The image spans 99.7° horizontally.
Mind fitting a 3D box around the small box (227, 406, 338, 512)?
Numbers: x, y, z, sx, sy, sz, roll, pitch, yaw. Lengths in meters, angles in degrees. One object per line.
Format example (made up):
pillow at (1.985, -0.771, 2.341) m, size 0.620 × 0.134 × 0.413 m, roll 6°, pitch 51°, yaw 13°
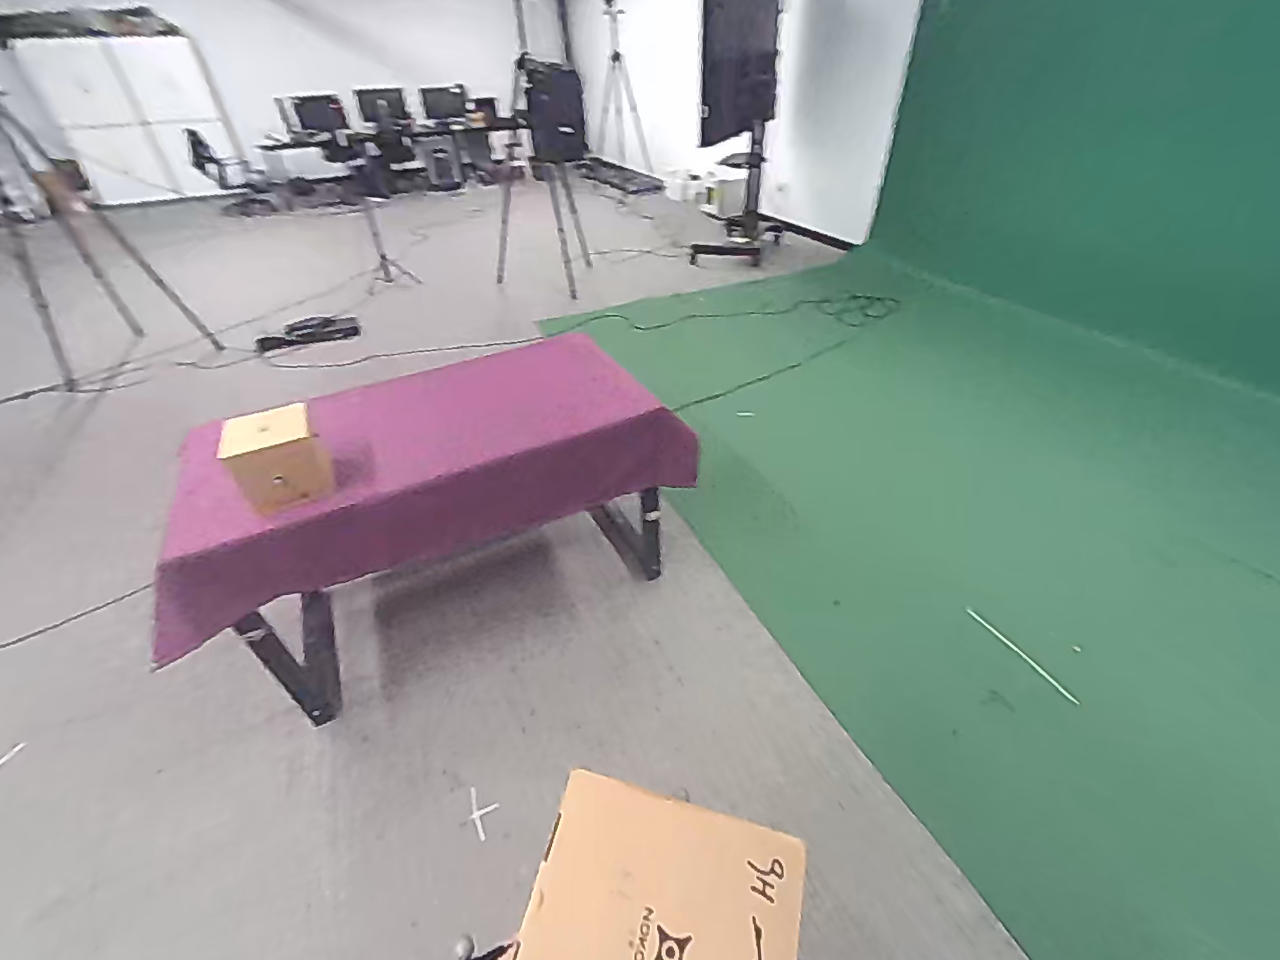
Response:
small box at (-0.822, -0.044, 1.259) m, size 0.168 × 0.176 × 0.179 m, roll -19°, pitch 40°, yaw -20°
